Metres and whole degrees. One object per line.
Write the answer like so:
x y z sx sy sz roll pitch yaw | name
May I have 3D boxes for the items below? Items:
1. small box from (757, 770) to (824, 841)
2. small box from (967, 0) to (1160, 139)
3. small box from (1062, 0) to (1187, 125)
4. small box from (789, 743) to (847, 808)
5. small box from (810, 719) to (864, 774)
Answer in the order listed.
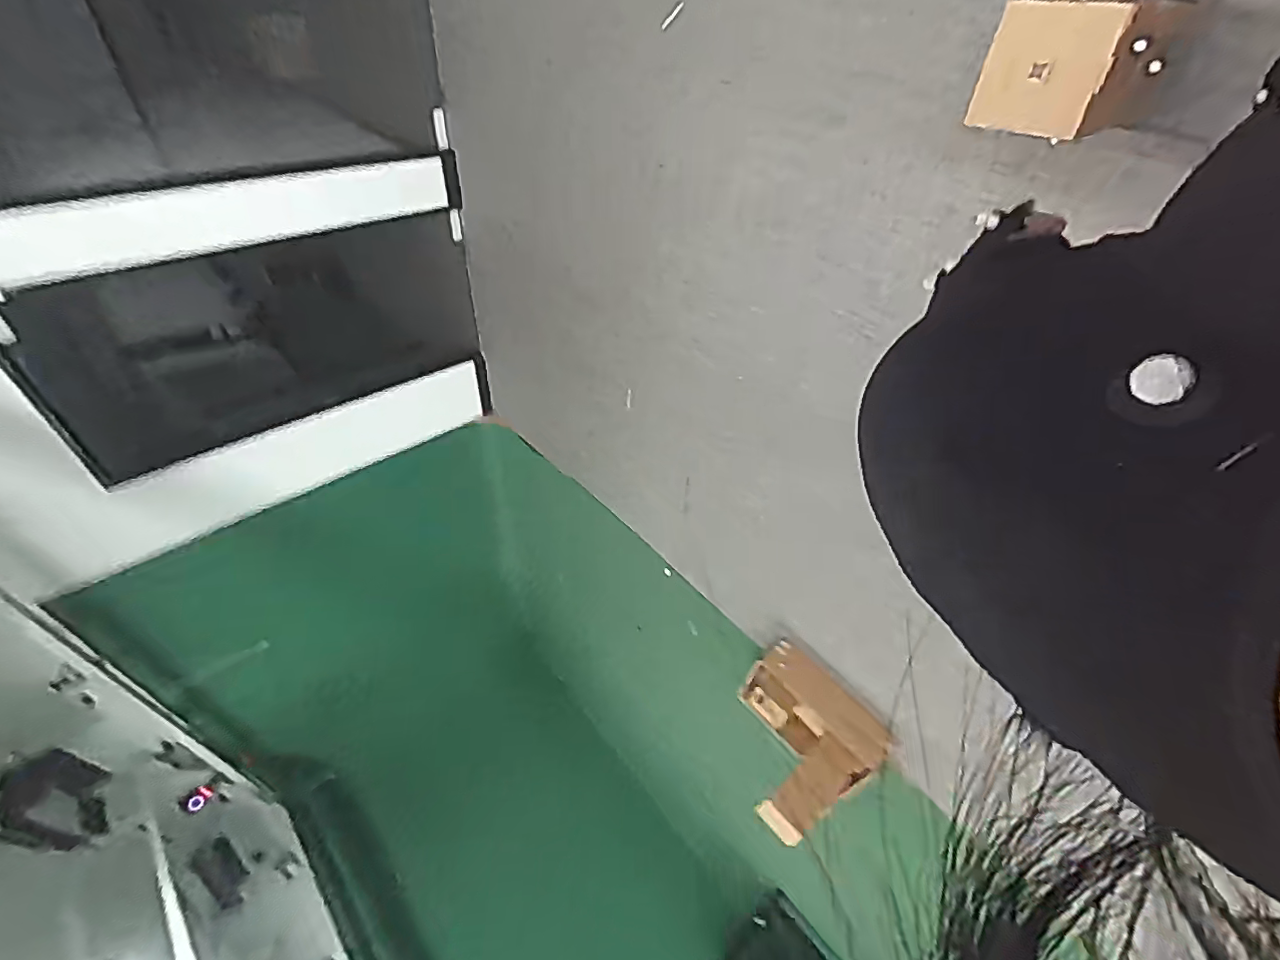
0.614 1.323 2.212 0.179 0.176 0.168 42 144 28 | small box
0.694 -0.679 0.891 0.179 0.176 0.168 38 141 34 | small box
0.815 -0.756 0.969 0.179 0.176 0.168 38 142 31 | small box
0.743 1.262 2.296 0.179 0.176 0.168 43 143 28 | small box
0.861 1.198 2.391 0.168 0.176 0.179 41 143 29 | small box
